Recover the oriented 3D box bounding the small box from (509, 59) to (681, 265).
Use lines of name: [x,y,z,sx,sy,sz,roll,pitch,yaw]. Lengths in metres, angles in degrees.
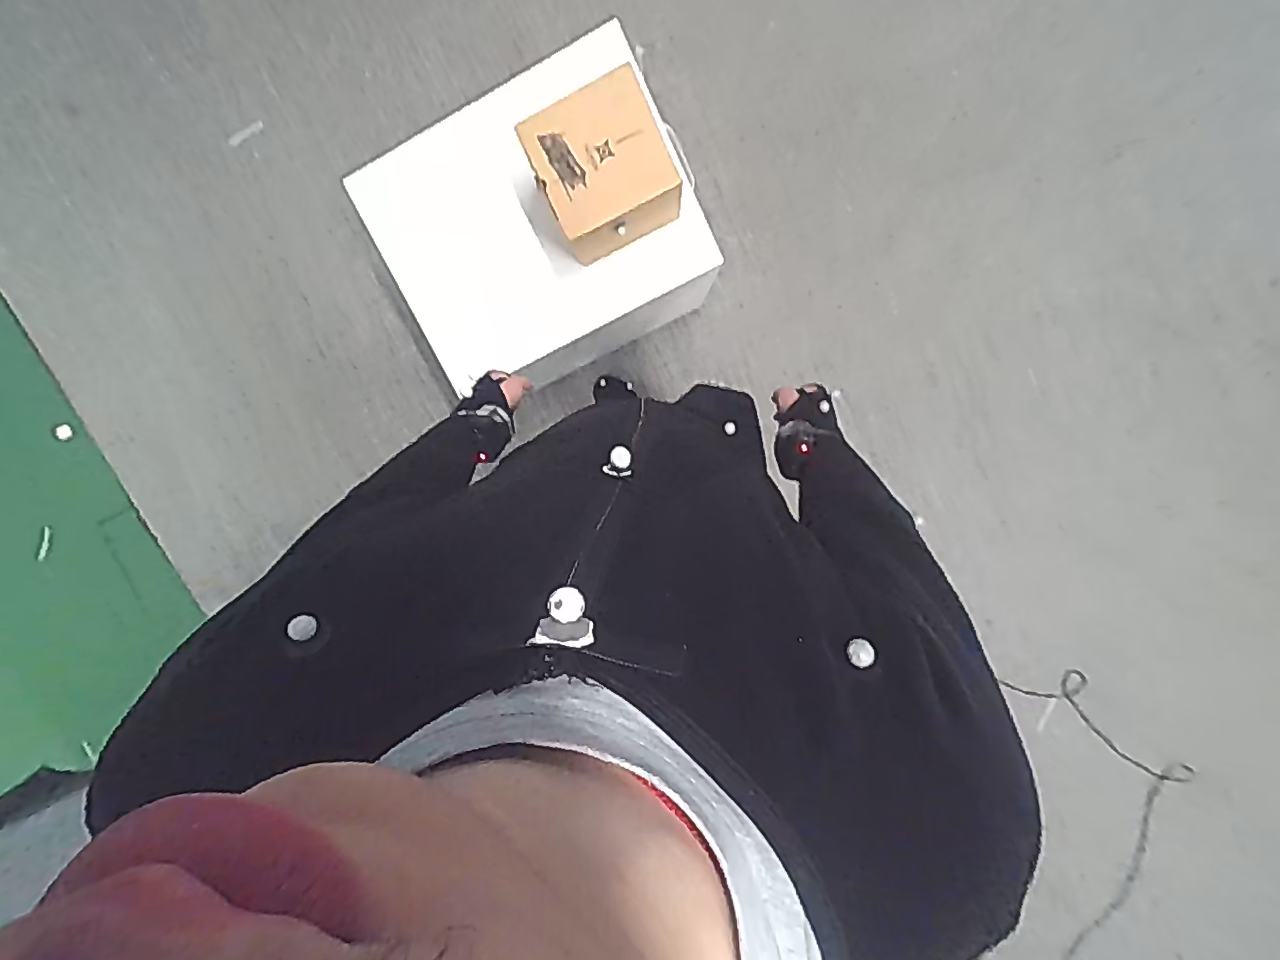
small box: [-0.056,-0.434,0.774,0.179,0.176,0.168,-26,99,4]
